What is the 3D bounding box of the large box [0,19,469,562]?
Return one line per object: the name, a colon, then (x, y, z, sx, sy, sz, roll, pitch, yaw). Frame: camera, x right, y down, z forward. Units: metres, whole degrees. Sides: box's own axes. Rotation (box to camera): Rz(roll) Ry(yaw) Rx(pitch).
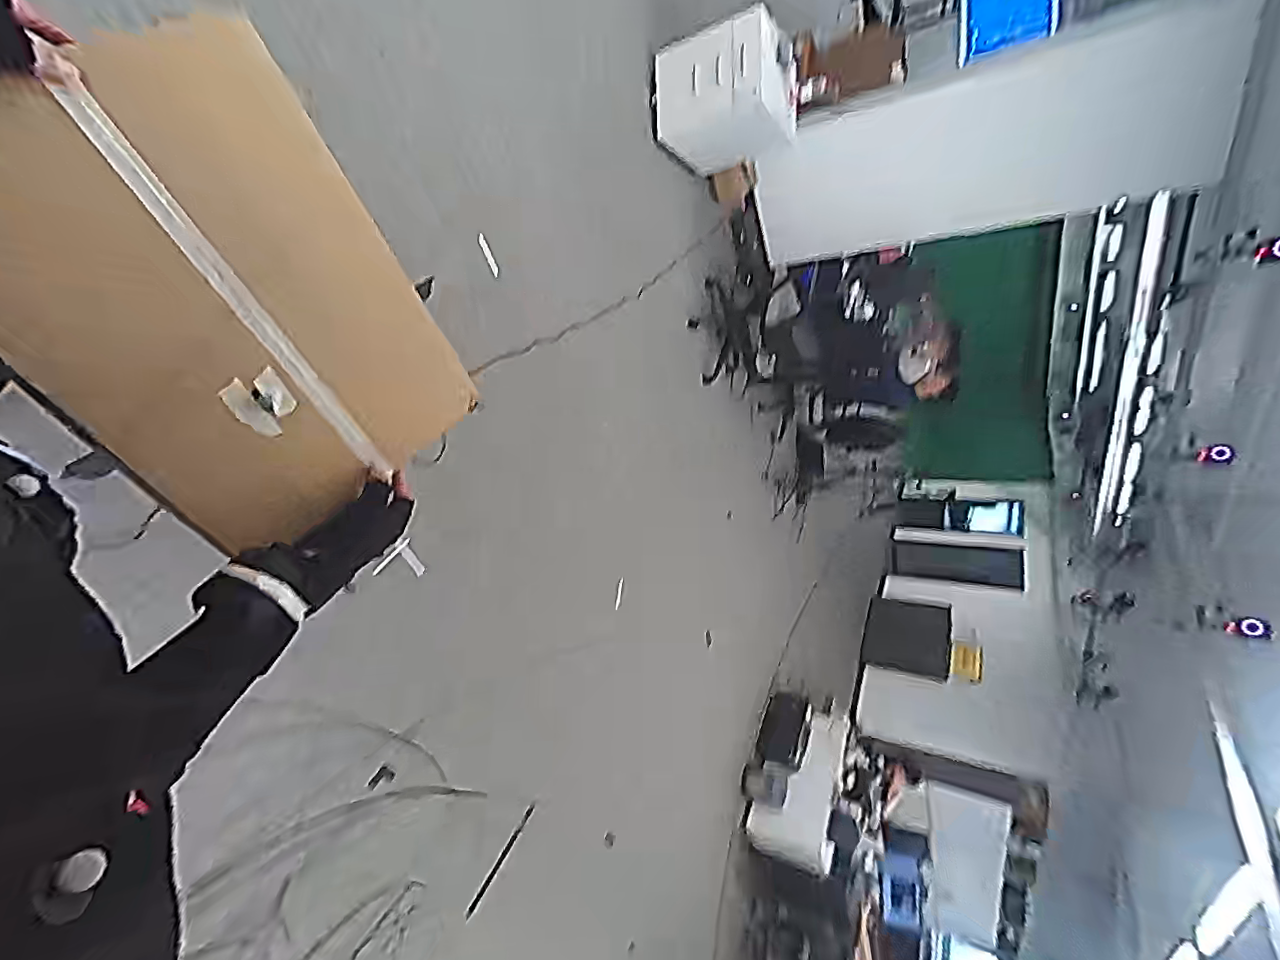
large box: (-0.484, -0.179, 0.597, 0.320, 0.320, 0.408, -50, 133, -32)
